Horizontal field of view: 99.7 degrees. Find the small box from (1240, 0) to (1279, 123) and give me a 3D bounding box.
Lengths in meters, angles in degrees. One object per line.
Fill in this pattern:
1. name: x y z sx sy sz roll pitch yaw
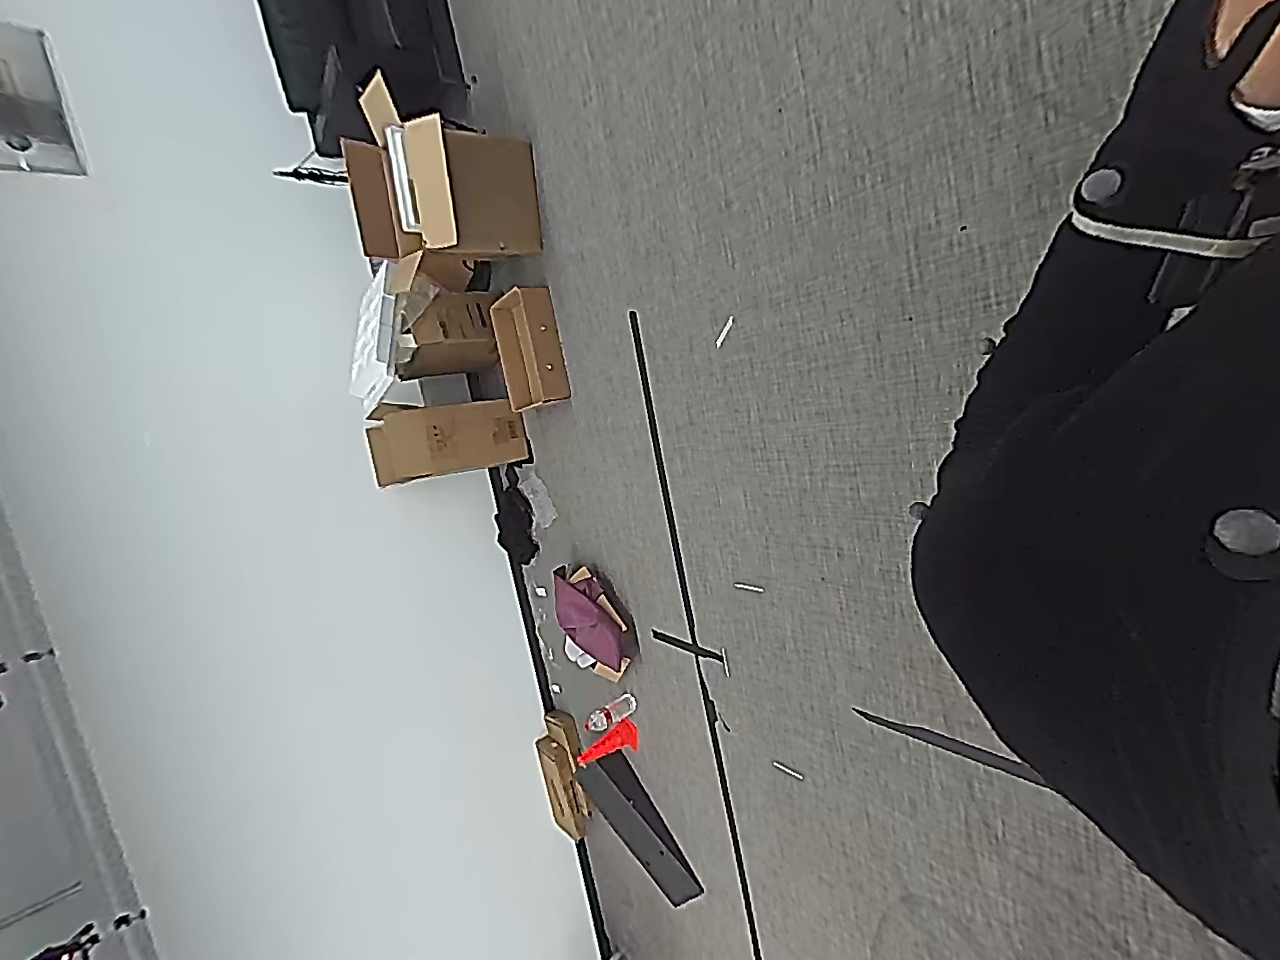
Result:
1. small box: 0.730 -0.470 0.518 0.179 0.176 0.168 13 115 53
